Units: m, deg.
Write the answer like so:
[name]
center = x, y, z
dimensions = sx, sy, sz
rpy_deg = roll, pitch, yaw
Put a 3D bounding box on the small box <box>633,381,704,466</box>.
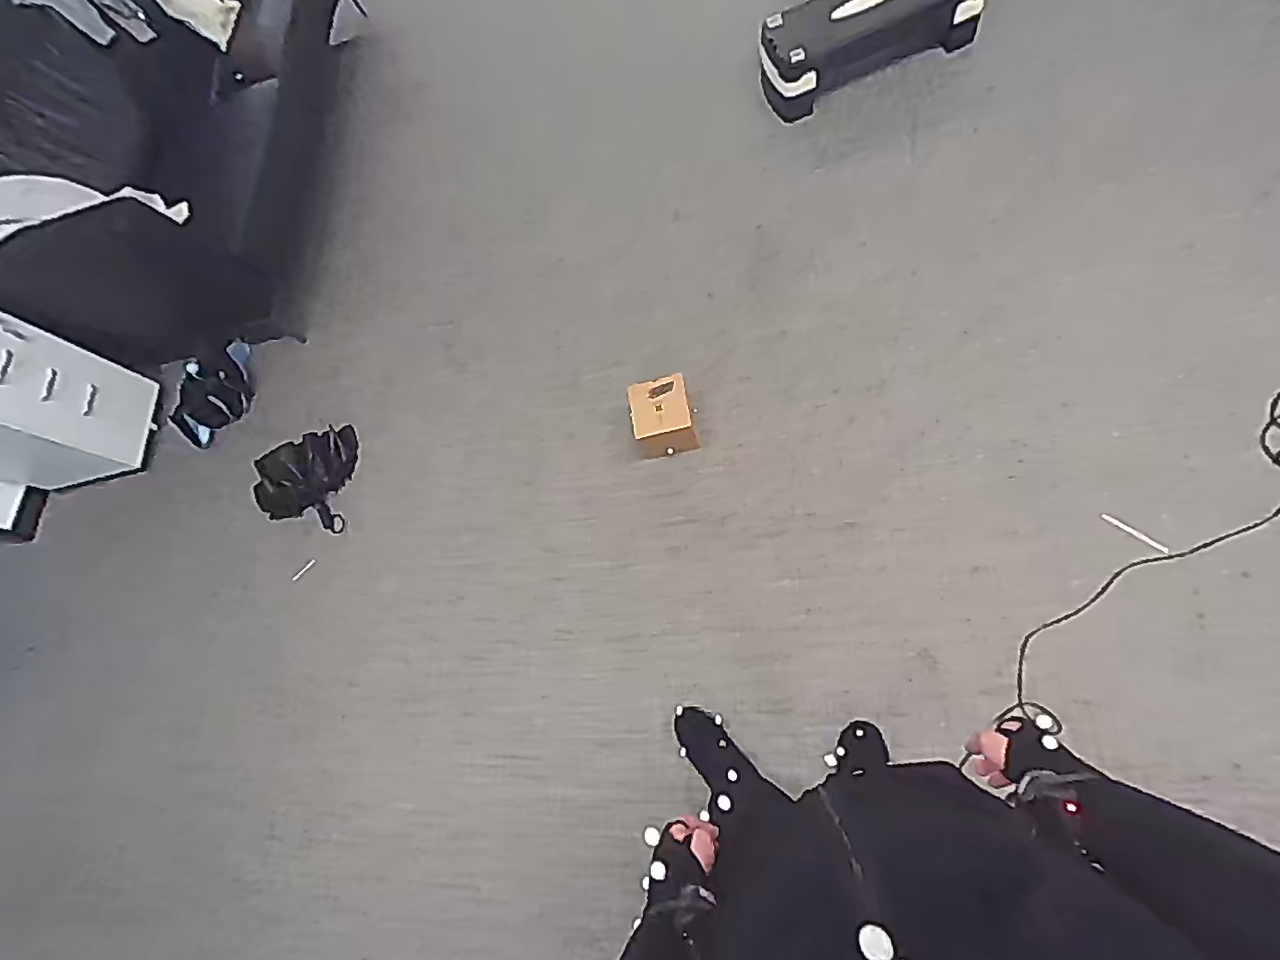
[small box]
center = 0.088, -0.163, 1.603
dimensions = 0.168, 0.176, 0.179
rpy_deg = -13, 68, 13
